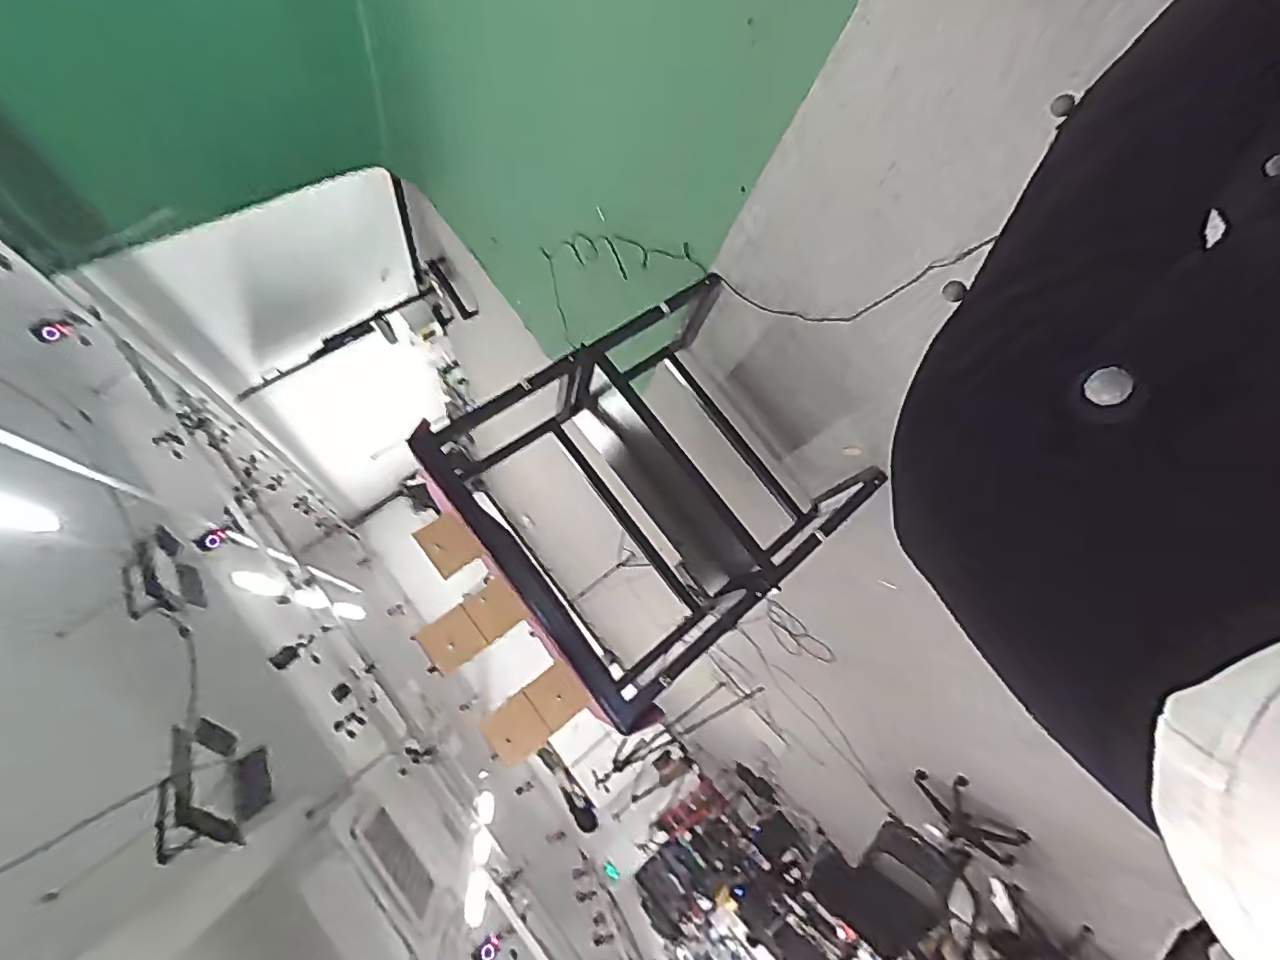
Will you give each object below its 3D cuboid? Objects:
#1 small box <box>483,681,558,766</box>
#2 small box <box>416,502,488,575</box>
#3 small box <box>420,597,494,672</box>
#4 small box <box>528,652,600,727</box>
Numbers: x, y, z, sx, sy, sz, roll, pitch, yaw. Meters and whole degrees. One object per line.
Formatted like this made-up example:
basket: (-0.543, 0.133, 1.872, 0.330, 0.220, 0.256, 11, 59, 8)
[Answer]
small box: (-0.384, 0.784, 1.759, 0.179, 0.176, 0.168, 52, 159, 7)
small box: (-0.646, 0.205, 1.882, 0.179, 0.176, 0.168, 52, 157, 4)
small box: (-0.605, 0.515, 1.814, 0.179, 0.176, 0.168, 52, 159, 4)
small box: (-0.258, 0.694, 1.814, 0.179, 0.176, 0.168, 50, 160, 8)
